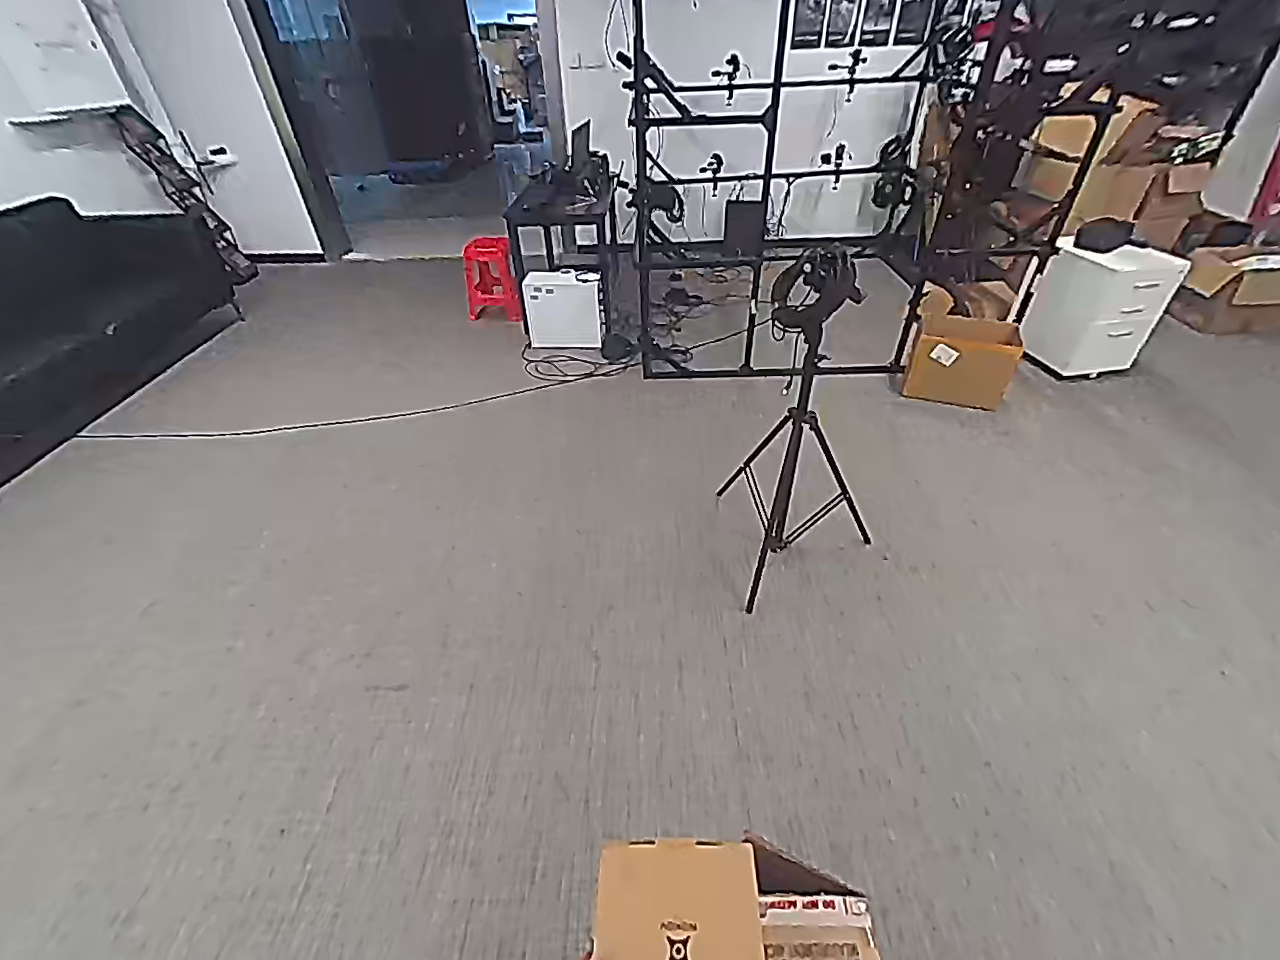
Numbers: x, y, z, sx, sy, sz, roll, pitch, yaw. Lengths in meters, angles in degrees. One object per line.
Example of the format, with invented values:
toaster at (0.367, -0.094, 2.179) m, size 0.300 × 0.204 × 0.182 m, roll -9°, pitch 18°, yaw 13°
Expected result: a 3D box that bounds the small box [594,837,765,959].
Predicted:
small box at (0.040, 0.508, 0.576) m, size 0.168 × 0.176 × 0.179 m, roll -2°, pitch 41°, yaw 3°
